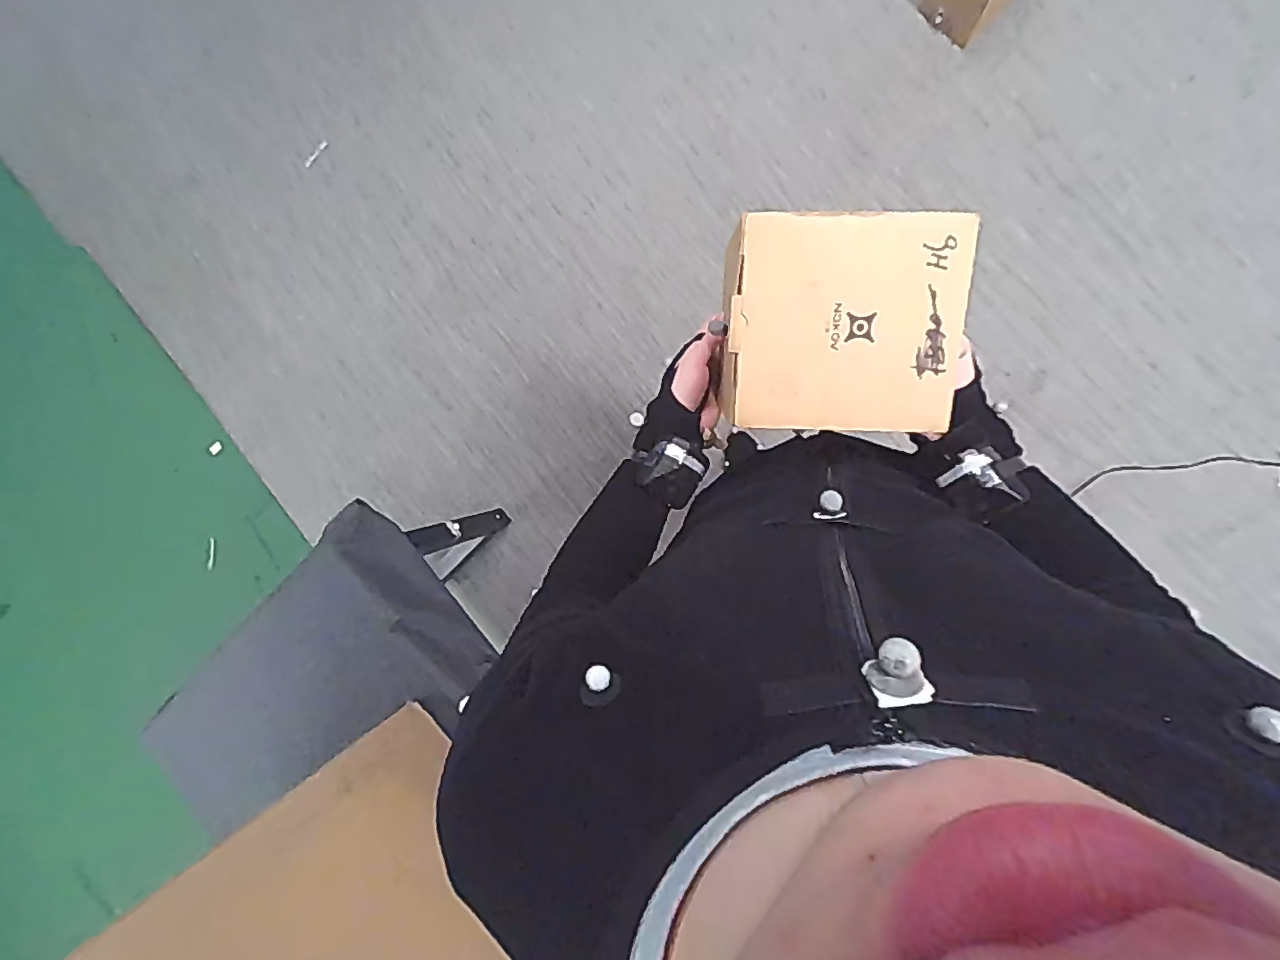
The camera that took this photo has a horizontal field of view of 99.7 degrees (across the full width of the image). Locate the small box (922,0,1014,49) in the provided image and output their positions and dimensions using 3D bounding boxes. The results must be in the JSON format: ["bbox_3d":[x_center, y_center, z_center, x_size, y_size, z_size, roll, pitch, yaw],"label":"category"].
[{"bbox_3d":[0.811,-1.199,1.286,0.179,0.176,0.168,-45,82,12],"label":"small box"}]
